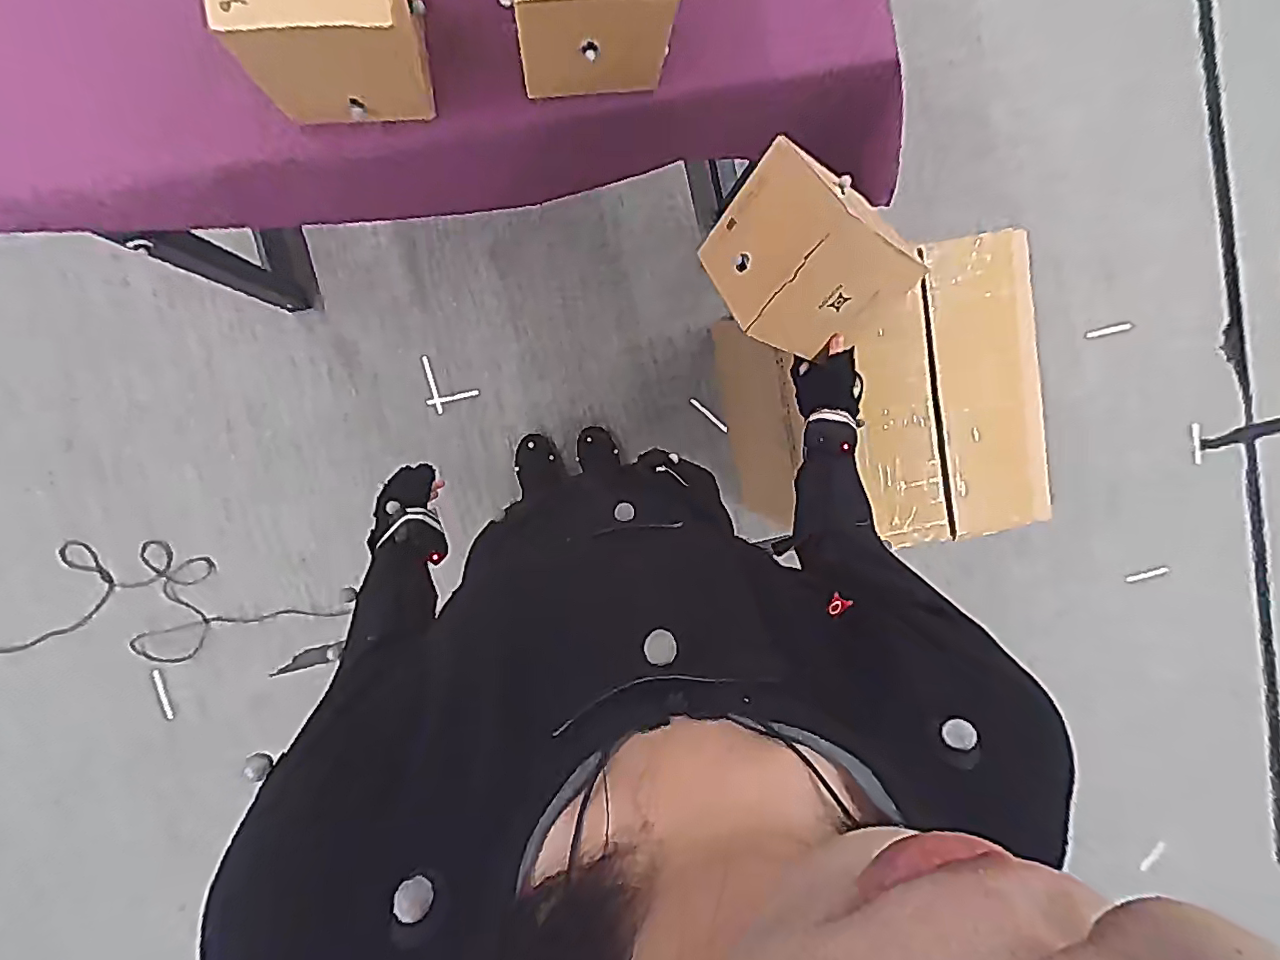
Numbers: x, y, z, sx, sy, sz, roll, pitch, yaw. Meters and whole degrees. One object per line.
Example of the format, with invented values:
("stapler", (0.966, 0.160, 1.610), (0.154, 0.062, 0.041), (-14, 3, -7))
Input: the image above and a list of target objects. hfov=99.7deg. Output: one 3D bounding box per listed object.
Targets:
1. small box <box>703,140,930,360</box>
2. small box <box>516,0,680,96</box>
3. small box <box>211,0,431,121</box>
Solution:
("small box", (0.207, -0.283, 0.673), (0.179, 0.168, 0.176), (6, 50, -36))
("small box", (-0.060, -0.589, 0.634), (0.179, 0.176, 0.168), (-8, 95, -5))
("small box", (-0.345, -0.533, 0.605), (0.179, 0.176, 0.168), (-7, 95, -7))
